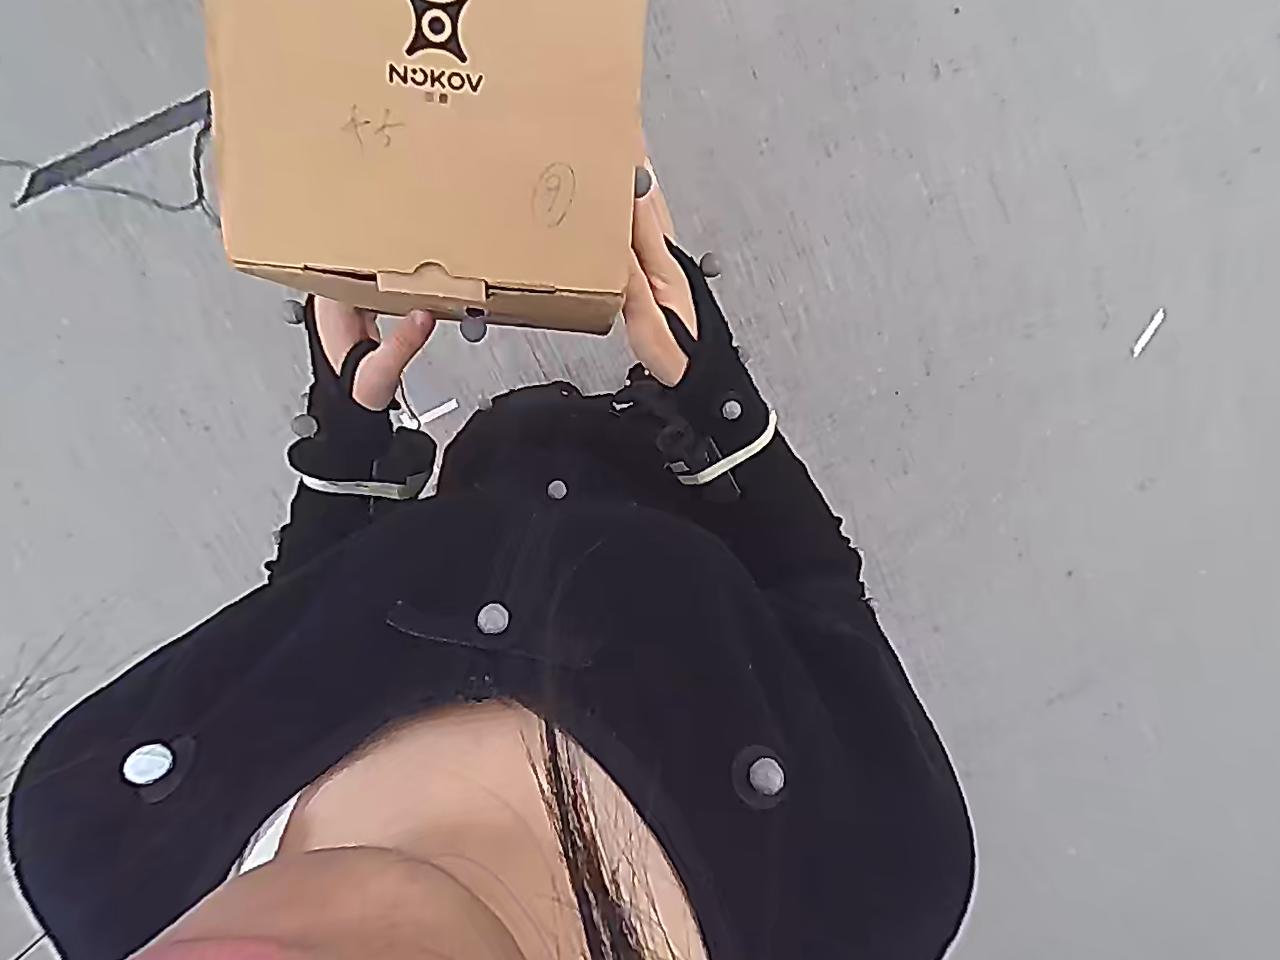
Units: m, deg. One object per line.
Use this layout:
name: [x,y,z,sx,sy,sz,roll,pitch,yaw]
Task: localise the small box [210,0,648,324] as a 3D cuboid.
small box: [-0.087,-0.184,0.290,0.168,0.176,0.179,3,100,-7]
